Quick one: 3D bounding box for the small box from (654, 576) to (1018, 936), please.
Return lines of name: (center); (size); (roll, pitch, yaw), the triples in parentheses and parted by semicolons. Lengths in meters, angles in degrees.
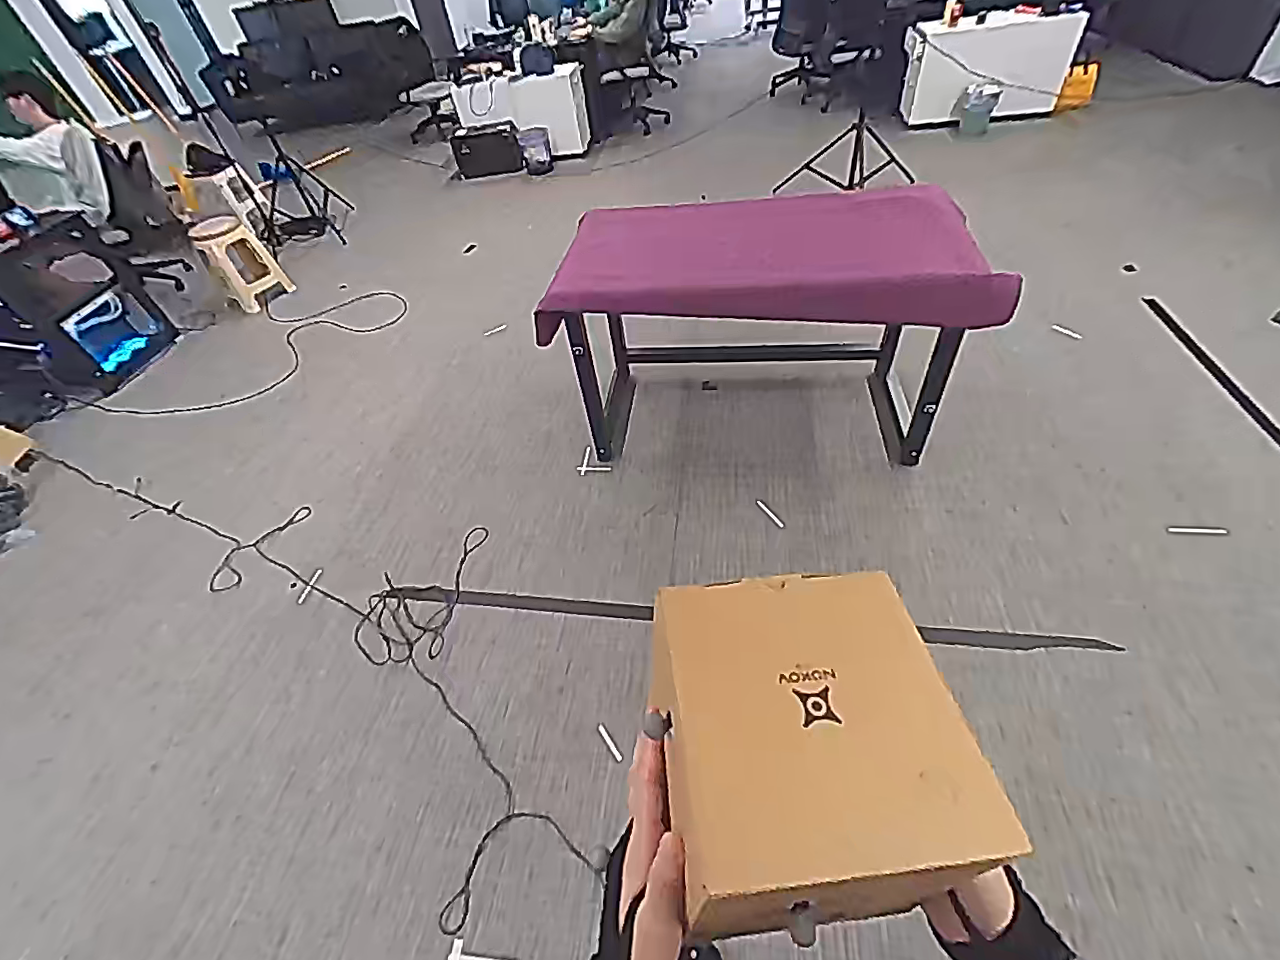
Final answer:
small box: (0.101, 0.193, 0.378); (0.168, 0.176, 0.179); (-4, 42, -6)
